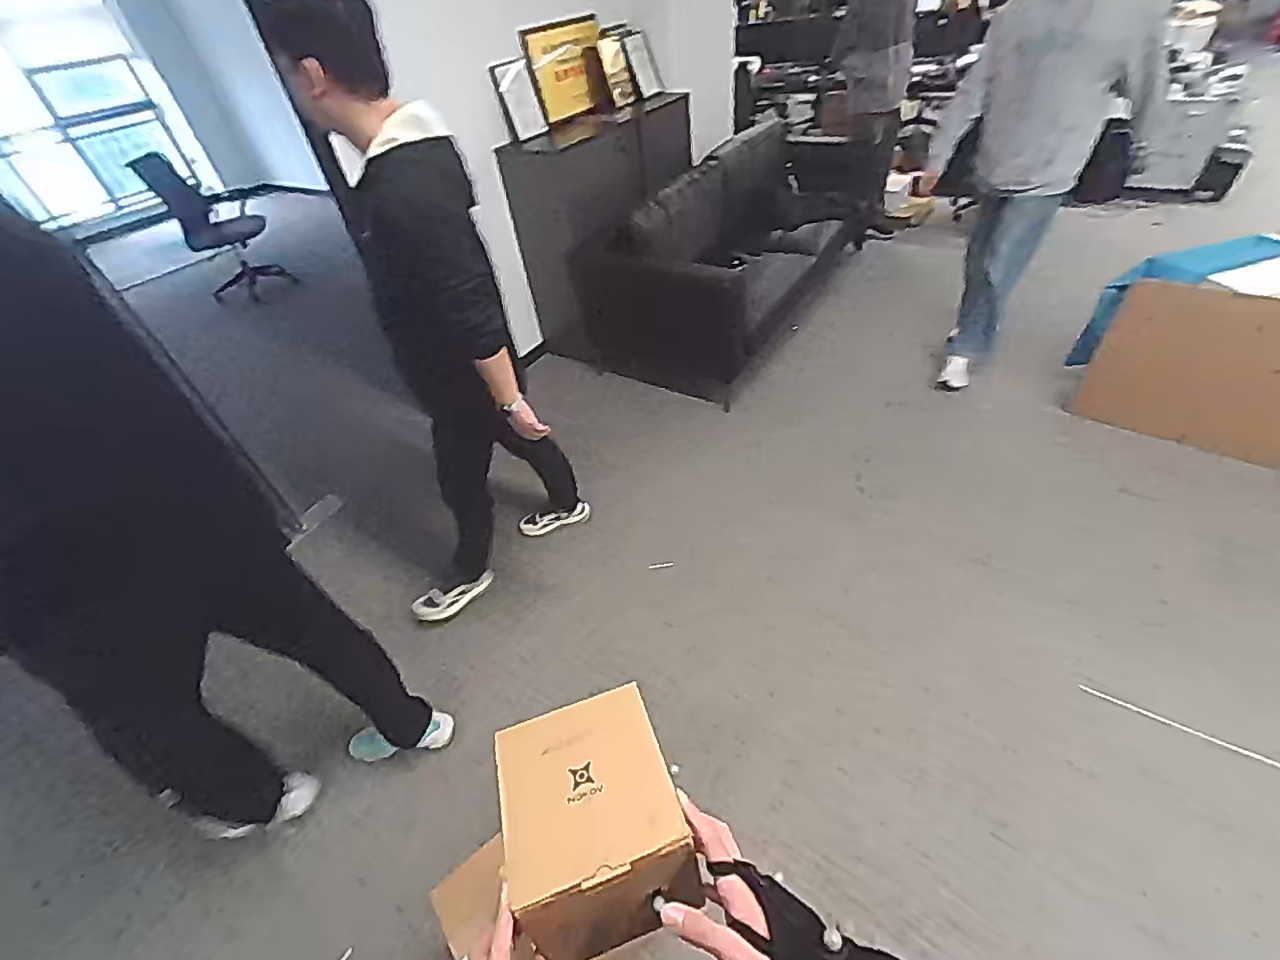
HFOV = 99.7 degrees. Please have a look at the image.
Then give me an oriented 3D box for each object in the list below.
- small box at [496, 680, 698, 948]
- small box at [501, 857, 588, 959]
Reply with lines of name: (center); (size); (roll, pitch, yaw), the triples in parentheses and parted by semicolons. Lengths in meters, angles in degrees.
small box: (-0.046, 0.359, 0.582); (0.168, 0.176, 0.179); (-16, 35, -9)
small box: (-0.141, 0.778, 1.039); (0.168, 0.176, 0.179); (-30, 50, -22)
